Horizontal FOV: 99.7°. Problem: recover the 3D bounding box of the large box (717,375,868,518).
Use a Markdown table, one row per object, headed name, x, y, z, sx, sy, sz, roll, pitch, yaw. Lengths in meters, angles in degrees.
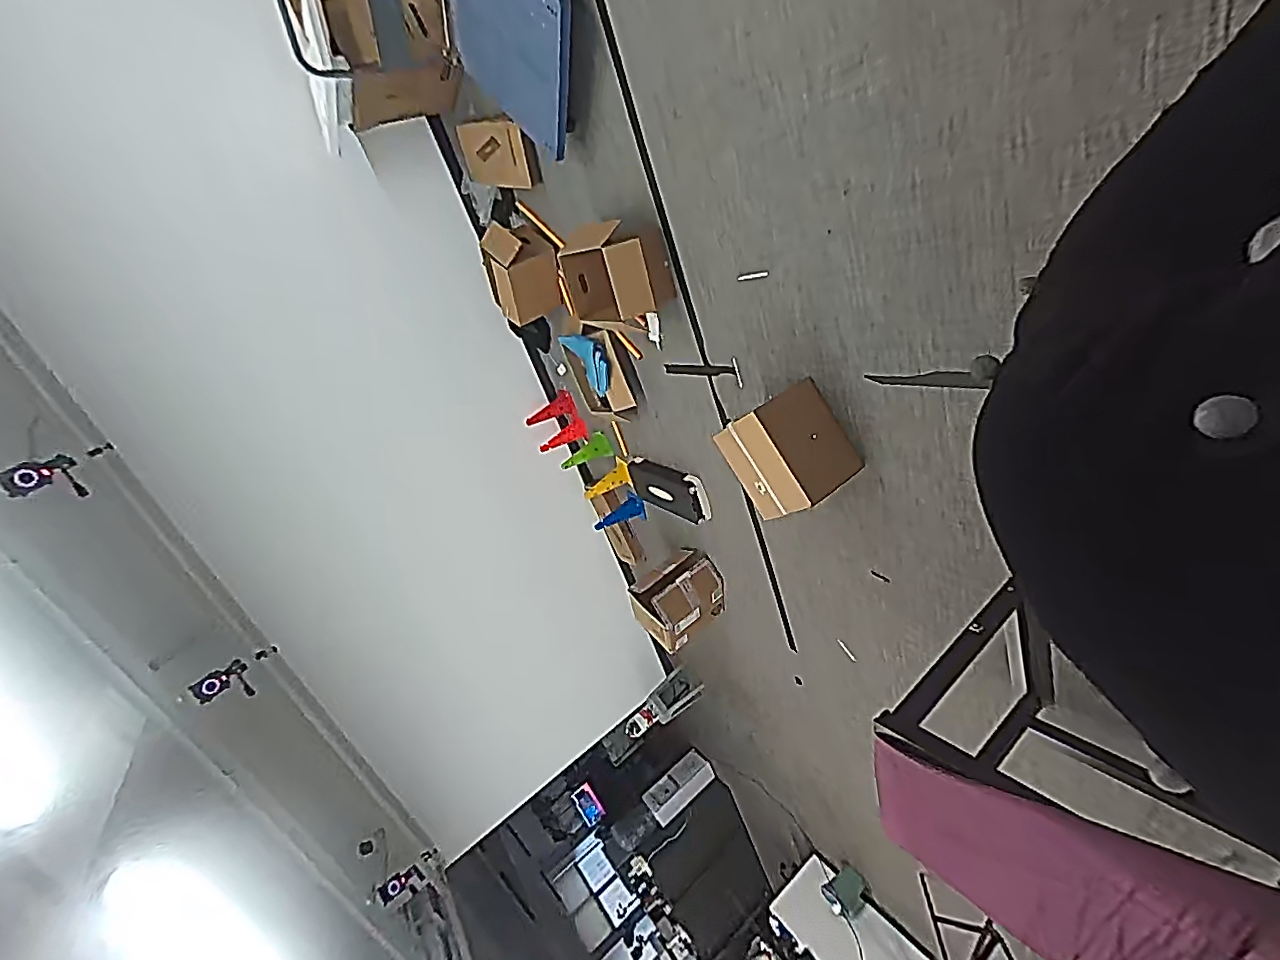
| name | x | y | z | sx | sy | sz | roll | pitch | yaw |
| --- | --- | --- | --- | --- | --- | --- | --- | --- | --- |
| large box | 0.579 | -0.122 | 2.080 | 0.408 | 0.320 | 0.320 | 57 | 157 | 1 |
